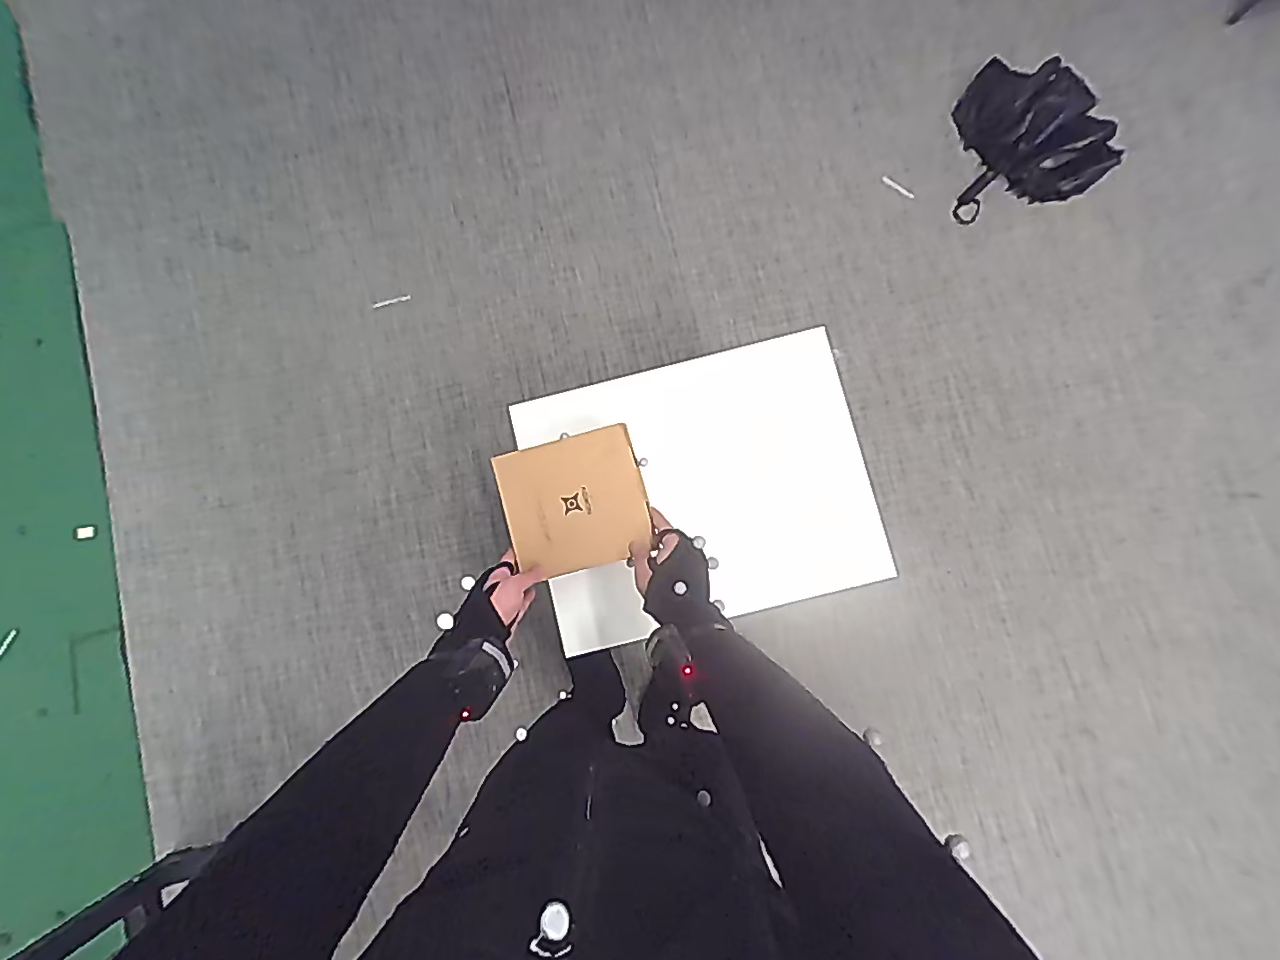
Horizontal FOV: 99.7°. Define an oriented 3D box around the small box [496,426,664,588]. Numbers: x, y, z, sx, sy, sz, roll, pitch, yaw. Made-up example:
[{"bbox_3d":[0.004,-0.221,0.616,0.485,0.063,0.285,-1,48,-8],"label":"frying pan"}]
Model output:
[{"bbox_3d":[-0.073,0.040,0.732,0.179,0.176,0.168,-15,83,-1],"label":"small box"}]
